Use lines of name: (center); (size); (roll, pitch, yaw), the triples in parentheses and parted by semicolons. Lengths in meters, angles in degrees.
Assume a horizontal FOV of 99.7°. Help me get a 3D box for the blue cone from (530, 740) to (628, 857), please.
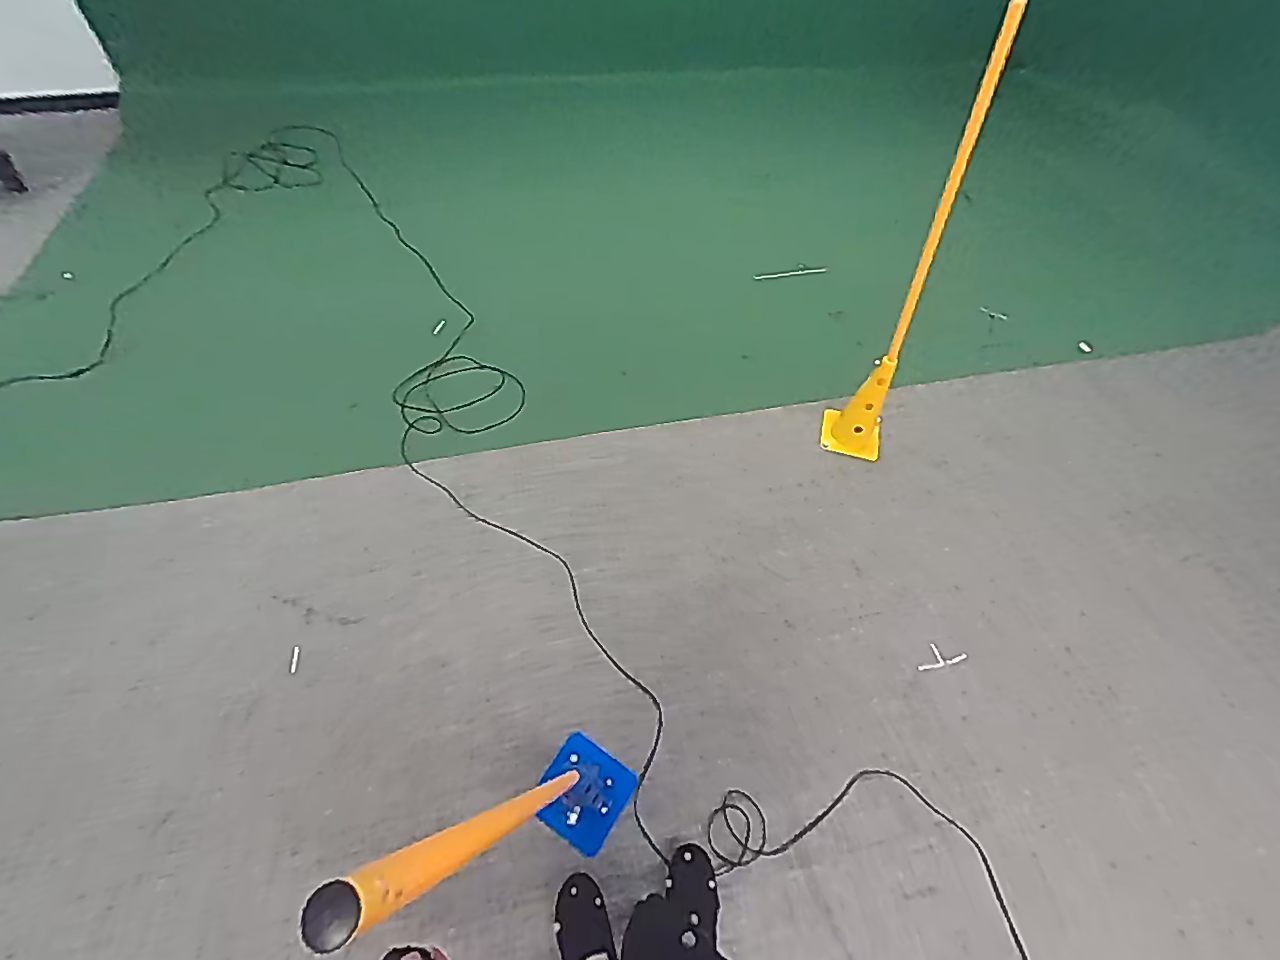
blue cone: (-0.133, 0.644, 1.115); (0.192, 0.380, 0.193); (28, 60, 15)
